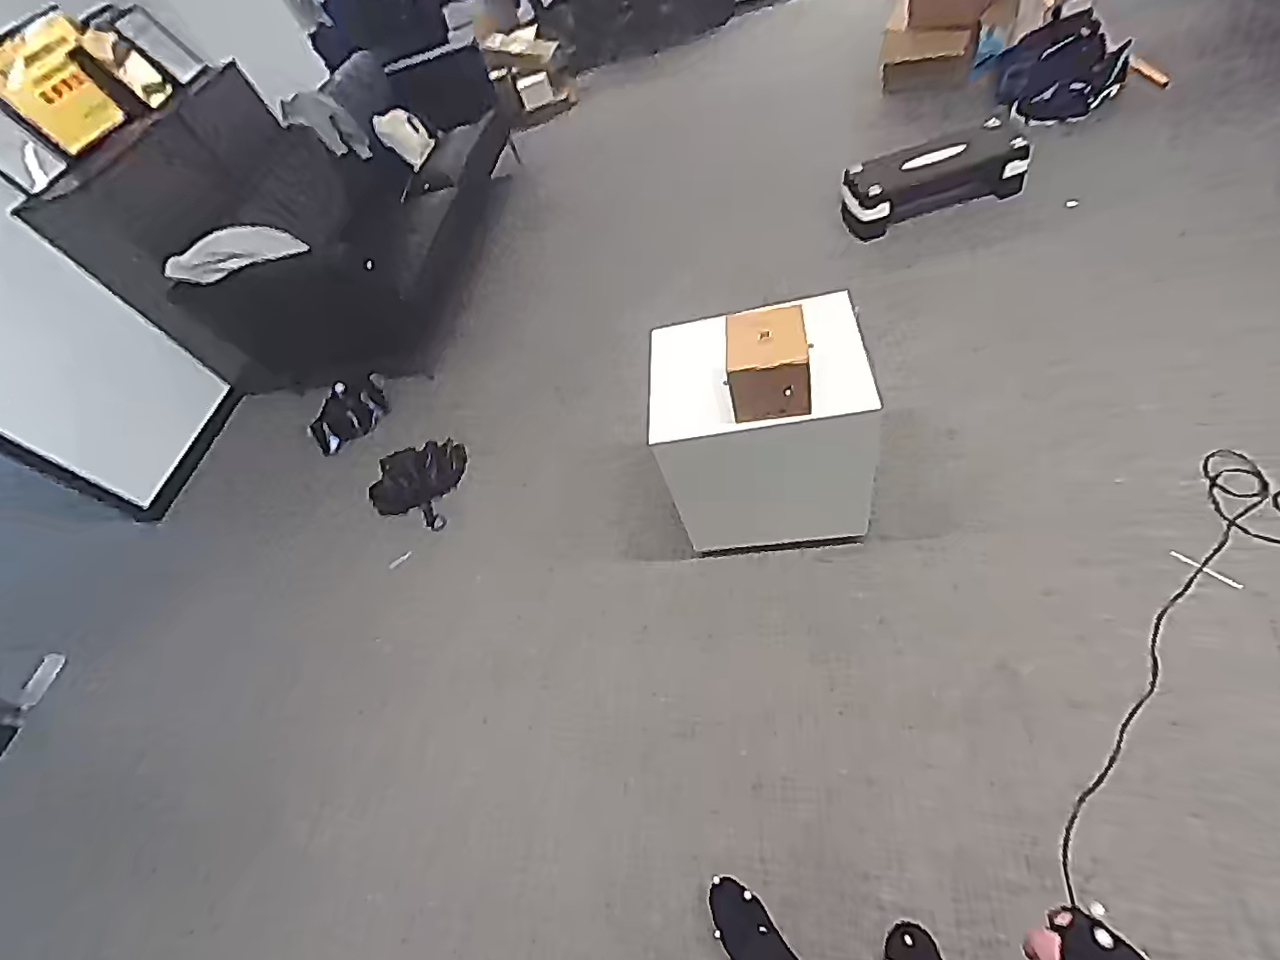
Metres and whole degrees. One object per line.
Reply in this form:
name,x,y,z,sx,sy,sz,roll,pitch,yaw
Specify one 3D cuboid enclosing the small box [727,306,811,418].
small box,0.282,-0.249,1.183,0.168,0.176,0.179,-4,53,14
